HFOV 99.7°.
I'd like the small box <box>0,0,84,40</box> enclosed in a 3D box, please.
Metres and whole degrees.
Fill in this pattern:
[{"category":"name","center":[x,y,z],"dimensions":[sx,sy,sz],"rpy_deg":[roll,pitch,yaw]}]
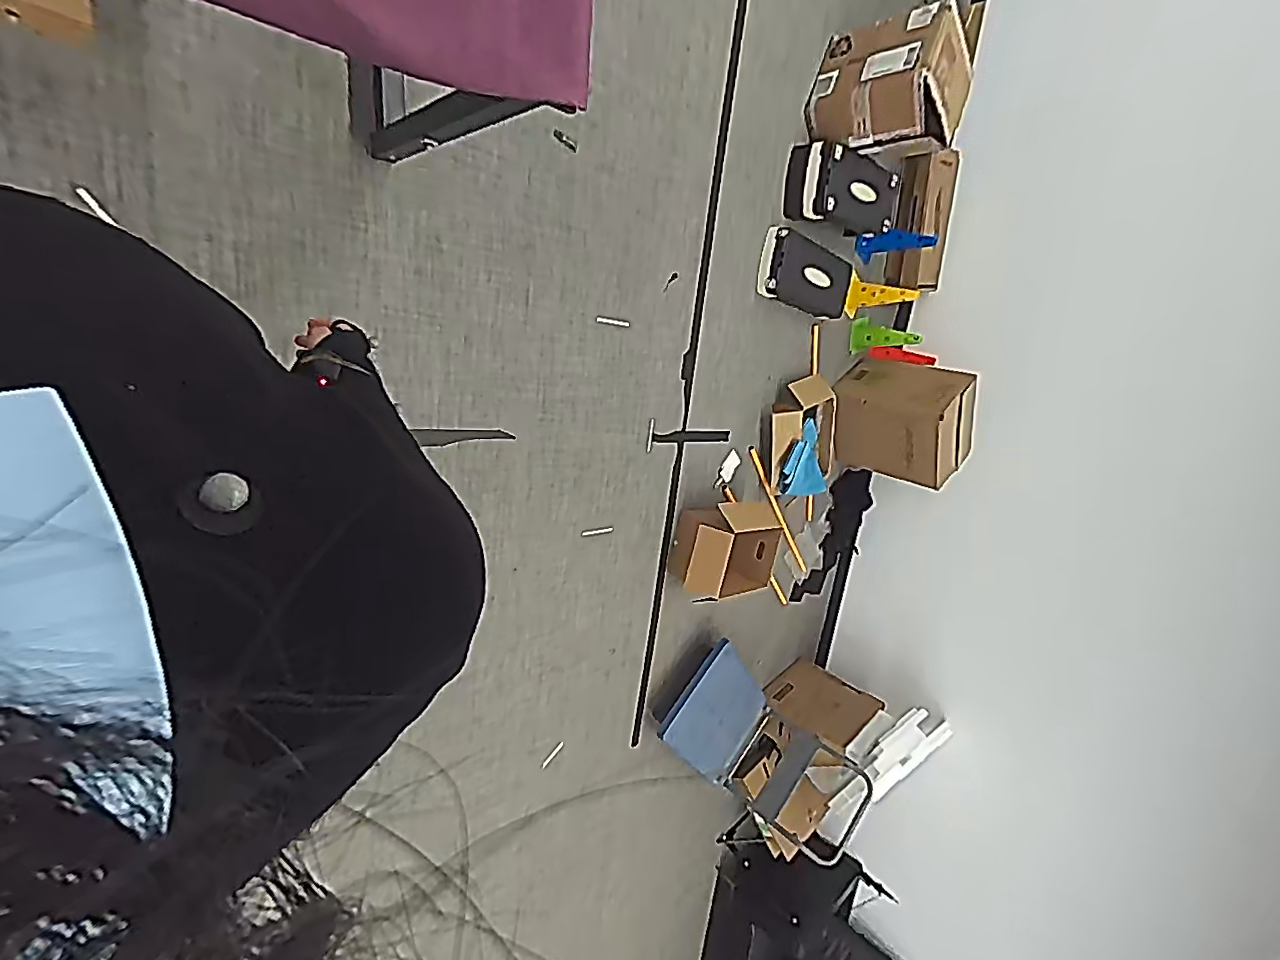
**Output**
[{"category":"small box","center":[-0.967,-0.818,0.819],"dimensions":[0.168,0.176,0.179],"rpy_deg":[-5,109,-45]}]
